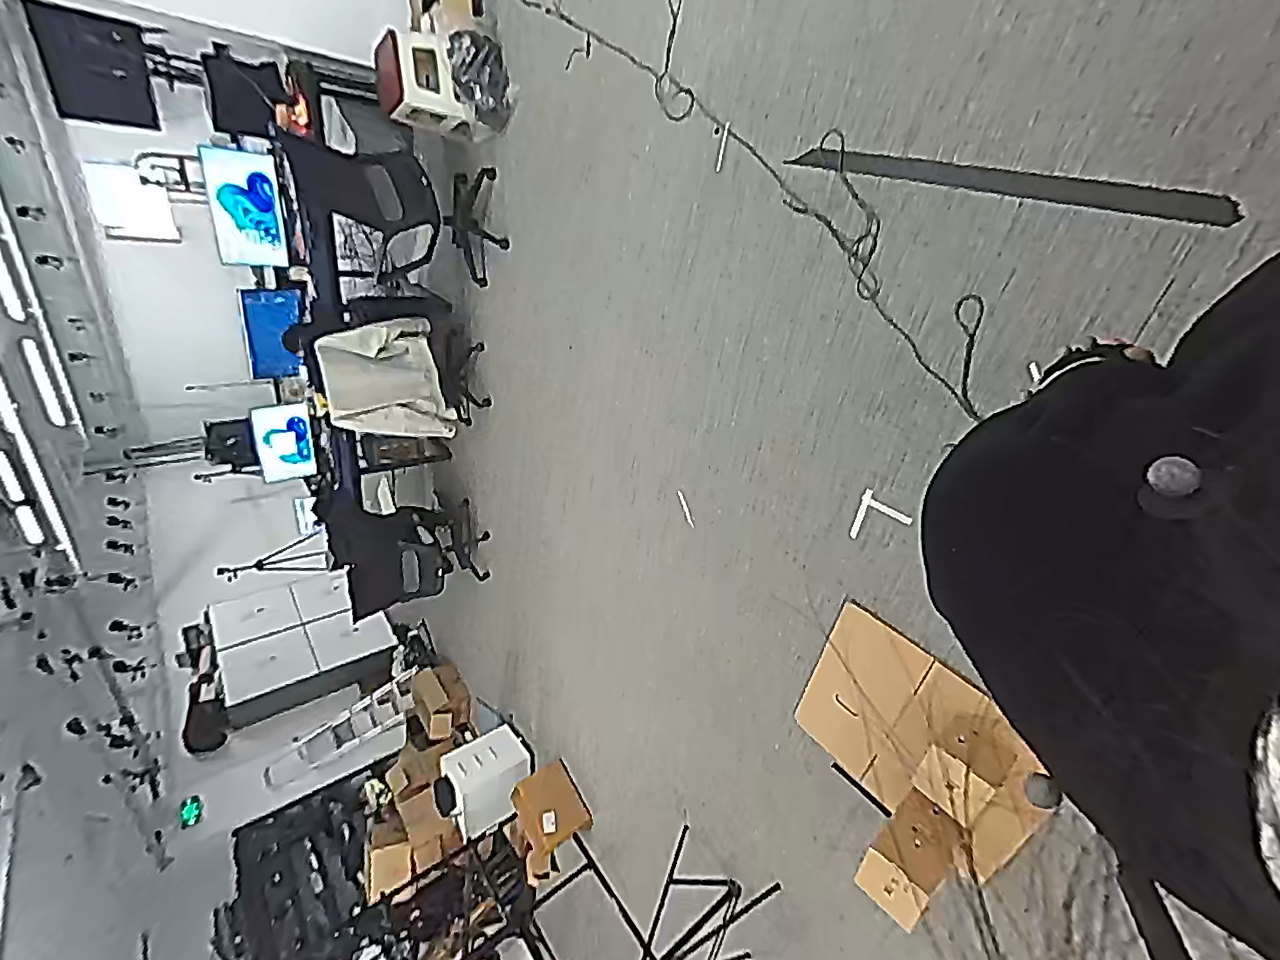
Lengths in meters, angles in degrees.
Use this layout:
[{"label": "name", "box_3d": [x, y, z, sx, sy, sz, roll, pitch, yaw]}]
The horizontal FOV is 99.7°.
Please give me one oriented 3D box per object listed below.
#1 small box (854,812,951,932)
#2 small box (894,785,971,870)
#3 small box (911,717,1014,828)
[{"label": "small box", "box_3d": [0.734, 1.084, 1.507, 0.168, 0.176, 0.179, 30, 124, 41]}, {"label": "small box", "box_3d": [0.857, 1.046, 1.611, 0.168, 0.176, 0.179, 29, 123, 43]}, {"label": "small box", "box_3d": [0.890, 0.794, 1.486, 0.168, 0.176, 0.179, 34, 128, 41]}]
